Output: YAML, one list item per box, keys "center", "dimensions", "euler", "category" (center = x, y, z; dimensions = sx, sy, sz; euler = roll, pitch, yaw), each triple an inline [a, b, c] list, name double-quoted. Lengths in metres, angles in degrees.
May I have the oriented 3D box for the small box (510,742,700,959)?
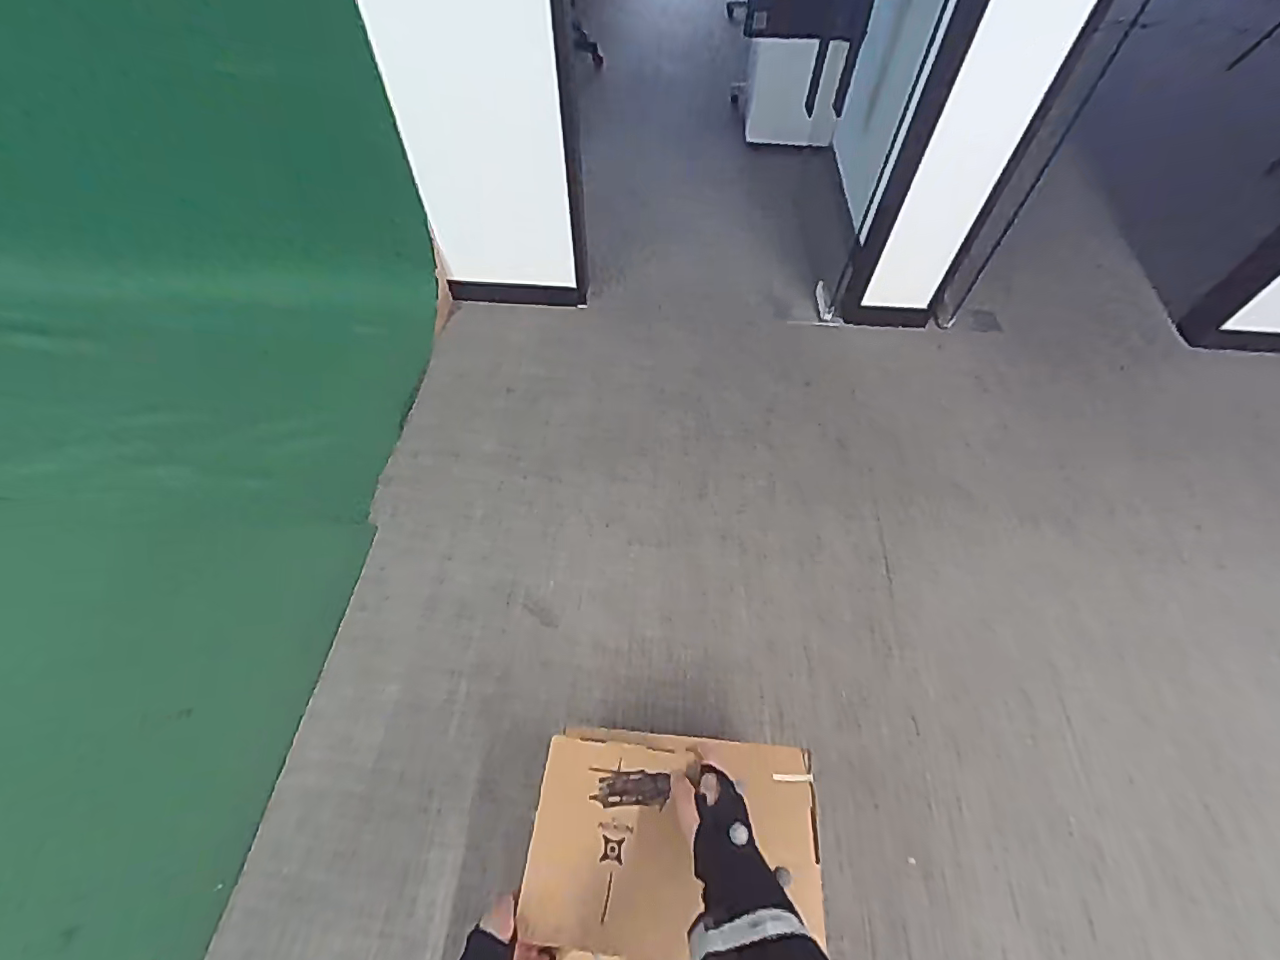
- center: [-0.028, 0.408, 0.594]
  dimensions: [0.168, 0.176, 0.179]
  euler: [6, 55, 4]
  category: "small box"
